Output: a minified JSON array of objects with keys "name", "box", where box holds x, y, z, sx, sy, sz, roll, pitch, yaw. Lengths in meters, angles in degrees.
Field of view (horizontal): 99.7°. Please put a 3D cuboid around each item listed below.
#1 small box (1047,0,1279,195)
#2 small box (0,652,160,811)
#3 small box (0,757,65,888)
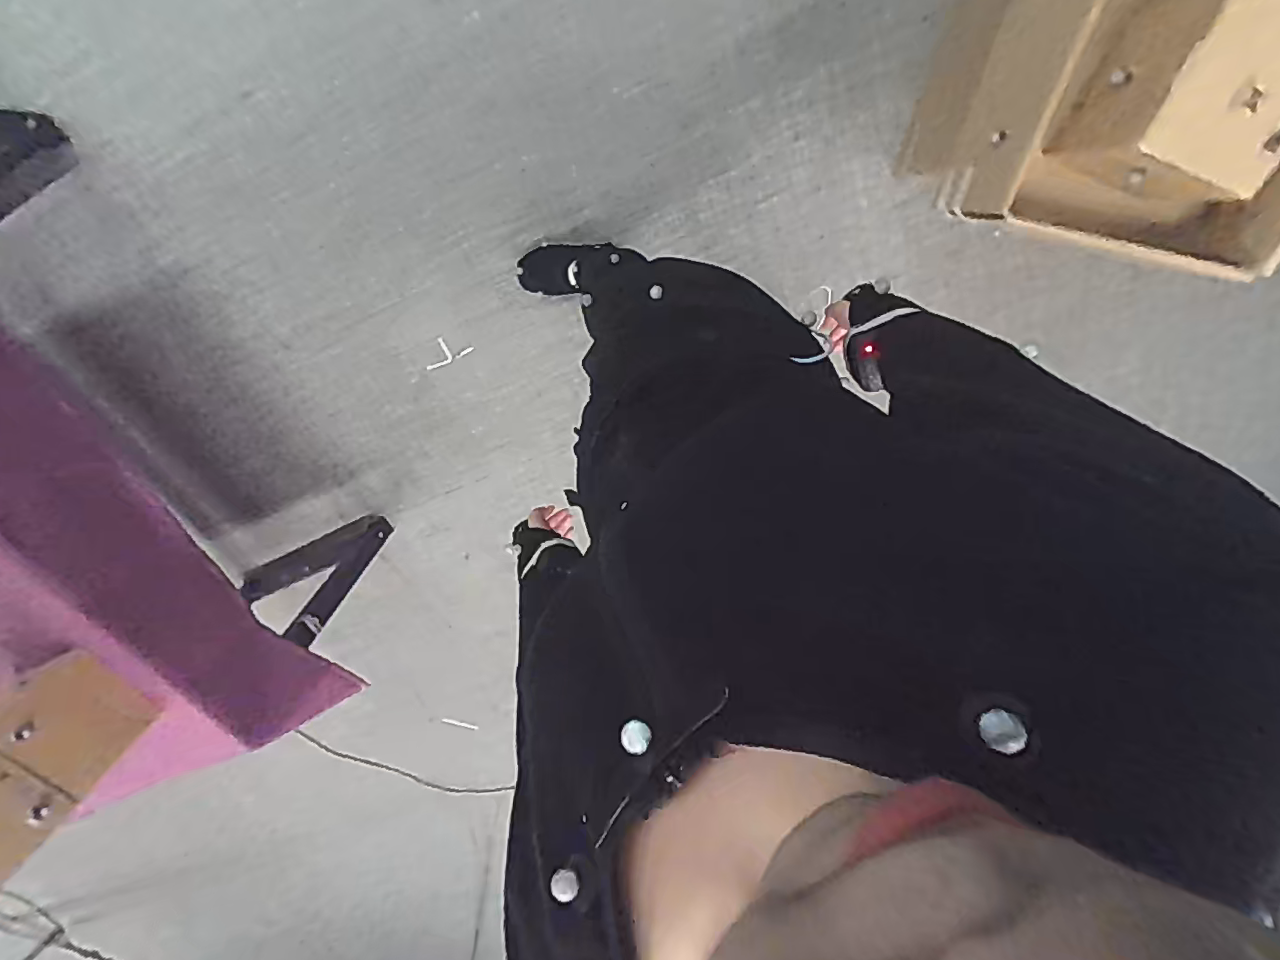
[{"name":"small box","box":[0.682,-0.476,0.687,0.179,0.176,0.168,17,117,-8]},{"name":"small box","box":[-0.942,0.410,0.861,0.168,0.176,0.179,-23,115,12]},{"name":"small box","box":[-0.945,0.487,0.716,0.179,0.176,0.168,-22,115,13]}]
